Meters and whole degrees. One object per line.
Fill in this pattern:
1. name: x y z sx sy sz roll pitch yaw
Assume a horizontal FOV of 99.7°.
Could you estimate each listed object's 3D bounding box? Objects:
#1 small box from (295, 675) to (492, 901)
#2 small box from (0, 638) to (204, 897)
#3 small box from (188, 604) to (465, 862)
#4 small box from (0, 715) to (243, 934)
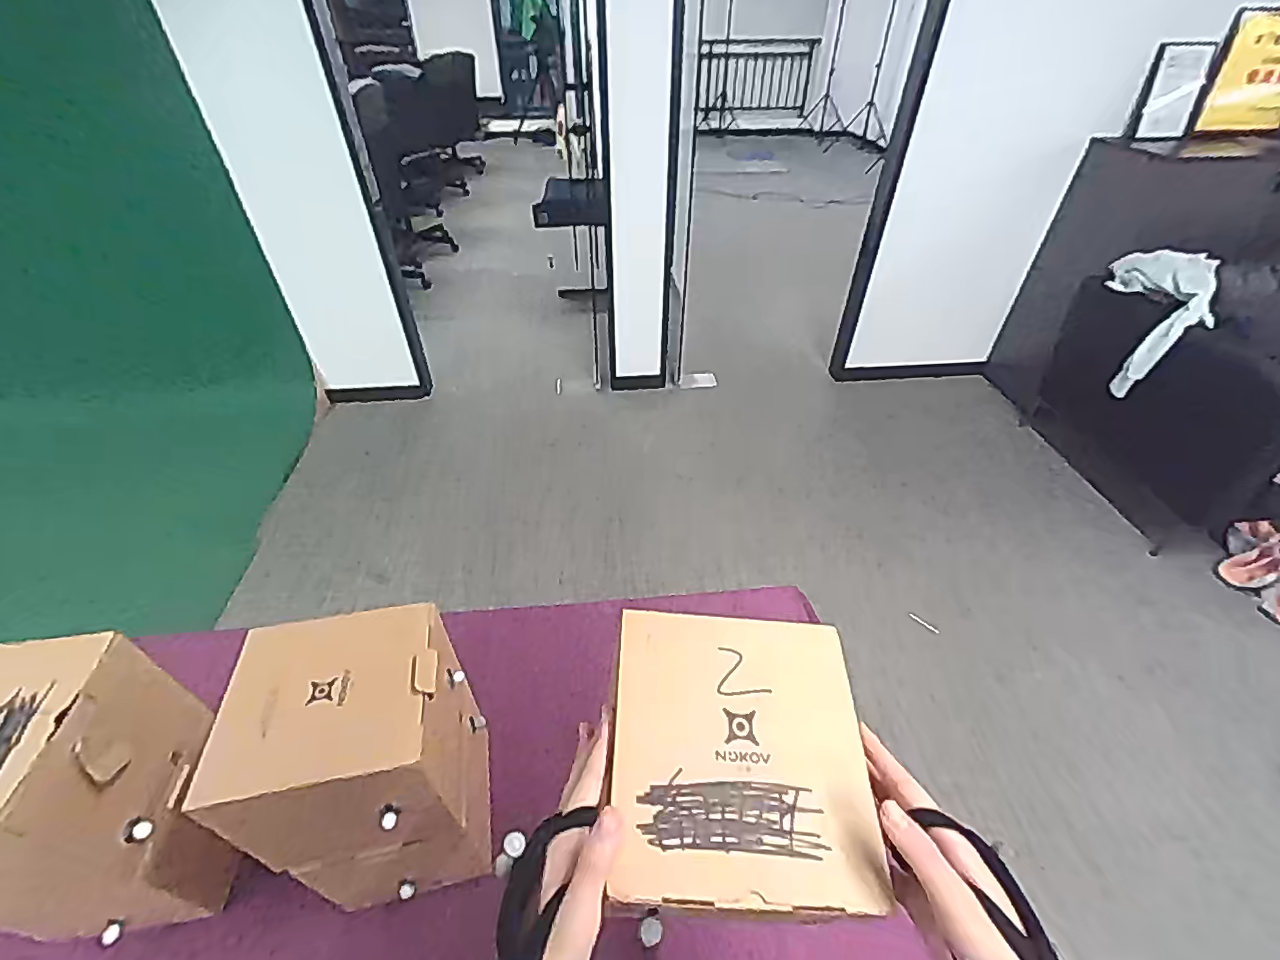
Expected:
1. small box: -0.278 0.369 0.654 0.168 0.176 0.179 -9 44 -9
2. small box: -0.574 0.274 0.512 0.179 0.176 0.168 -6 43 -5
3. small box: -0.281 0.251 0.541 0.179 0.176 0.168 -8 42 -8
4. small box: -0.575 0.396 0.623 0.179 0.176 0.168 -5 43 -6
